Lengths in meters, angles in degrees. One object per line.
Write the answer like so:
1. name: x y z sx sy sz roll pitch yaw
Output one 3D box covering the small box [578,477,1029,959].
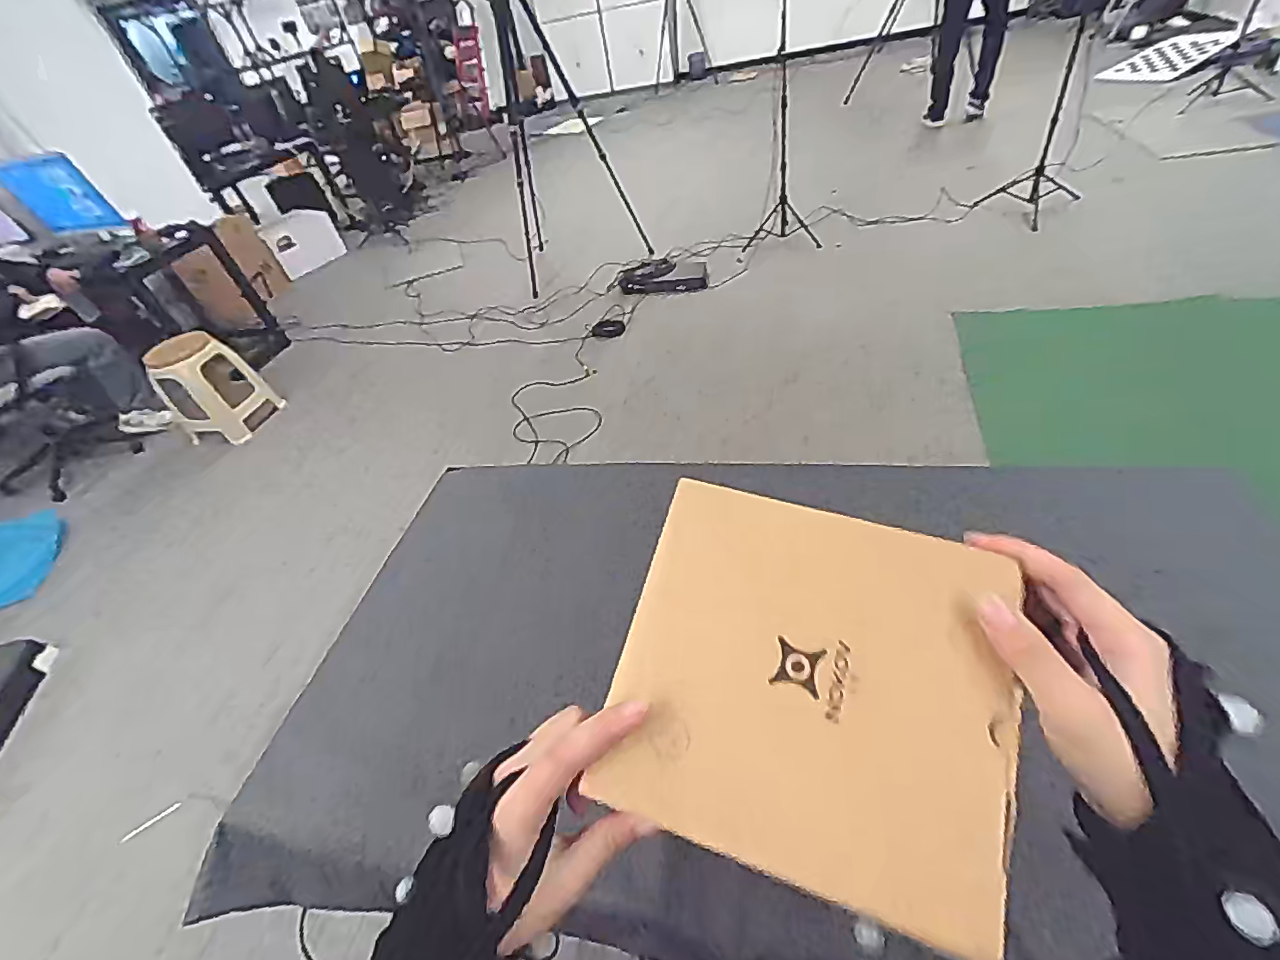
1. small box: 0.089 0.123 0.322 0.179 0.176 0.168 15 67 15
